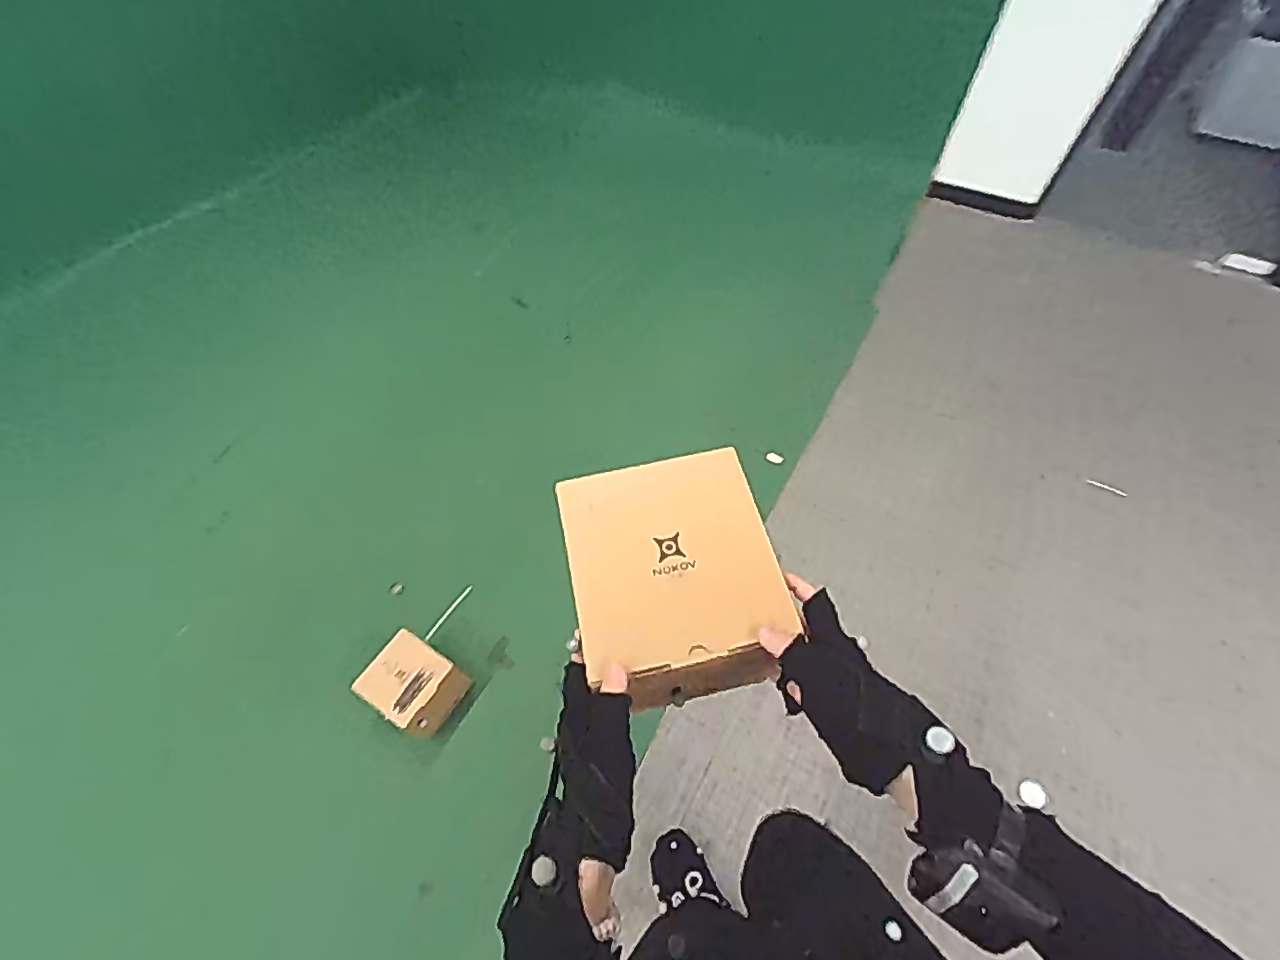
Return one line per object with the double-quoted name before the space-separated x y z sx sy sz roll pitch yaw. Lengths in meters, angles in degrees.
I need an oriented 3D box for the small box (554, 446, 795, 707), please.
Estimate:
"small box" 0.019 0.096 0.509 0.168 0.176 0.179 -12 61 -7
